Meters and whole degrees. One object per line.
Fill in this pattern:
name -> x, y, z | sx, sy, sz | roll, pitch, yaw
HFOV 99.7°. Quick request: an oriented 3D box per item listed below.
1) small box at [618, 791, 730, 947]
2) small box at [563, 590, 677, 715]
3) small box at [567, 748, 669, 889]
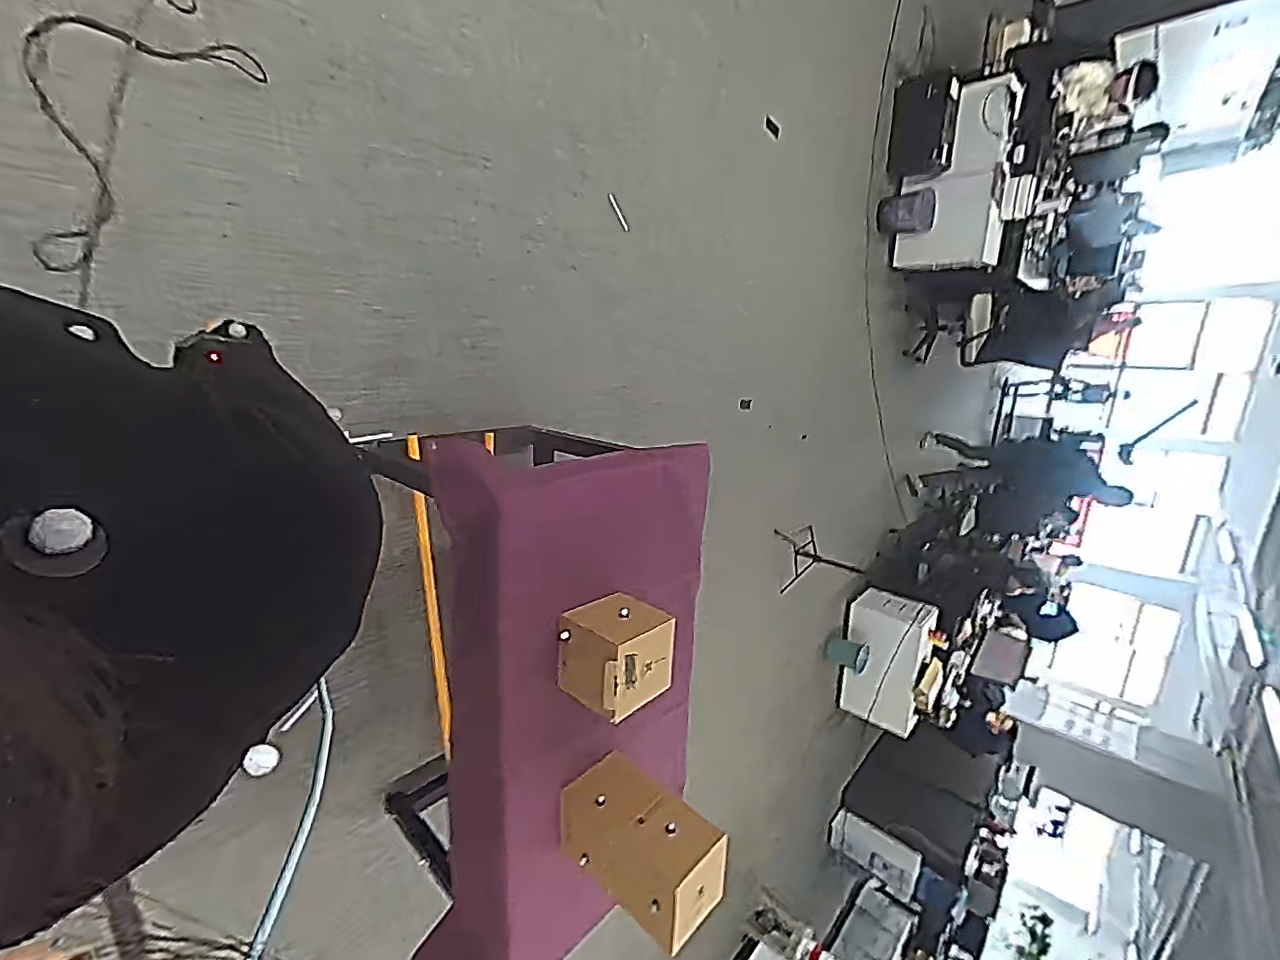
small box -> 0.068, 0.790, 1.128 | 0.168, 0.176, 0.179 | -14, 111, -45
small box -> -0.045, 0.349, 1.128 | 0.179, 0.176, 0.168 | -11, 109, -47
small box -> -0.053, 0.759, 1.234 | 0.179, 0.176, 0.168 | -16, 112, -45
